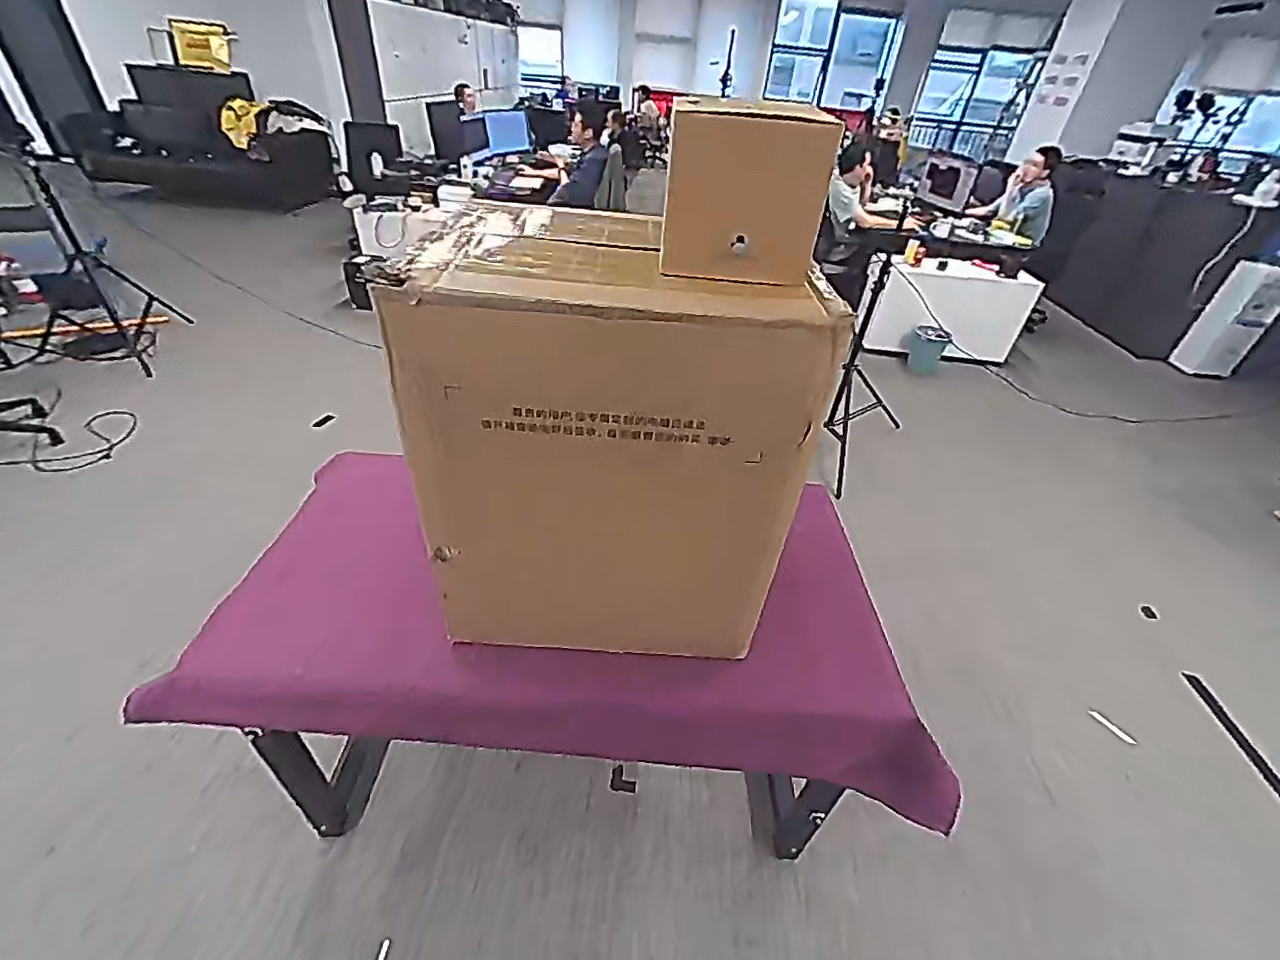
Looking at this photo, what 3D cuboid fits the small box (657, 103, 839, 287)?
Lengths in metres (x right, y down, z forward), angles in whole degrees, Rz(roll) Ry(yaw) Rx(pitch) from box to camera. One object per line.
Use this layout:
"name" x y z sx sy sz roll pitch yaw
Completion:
"small box" 0.118 -0.349 0.666 0.179 0.176 0.168 5 38 0
